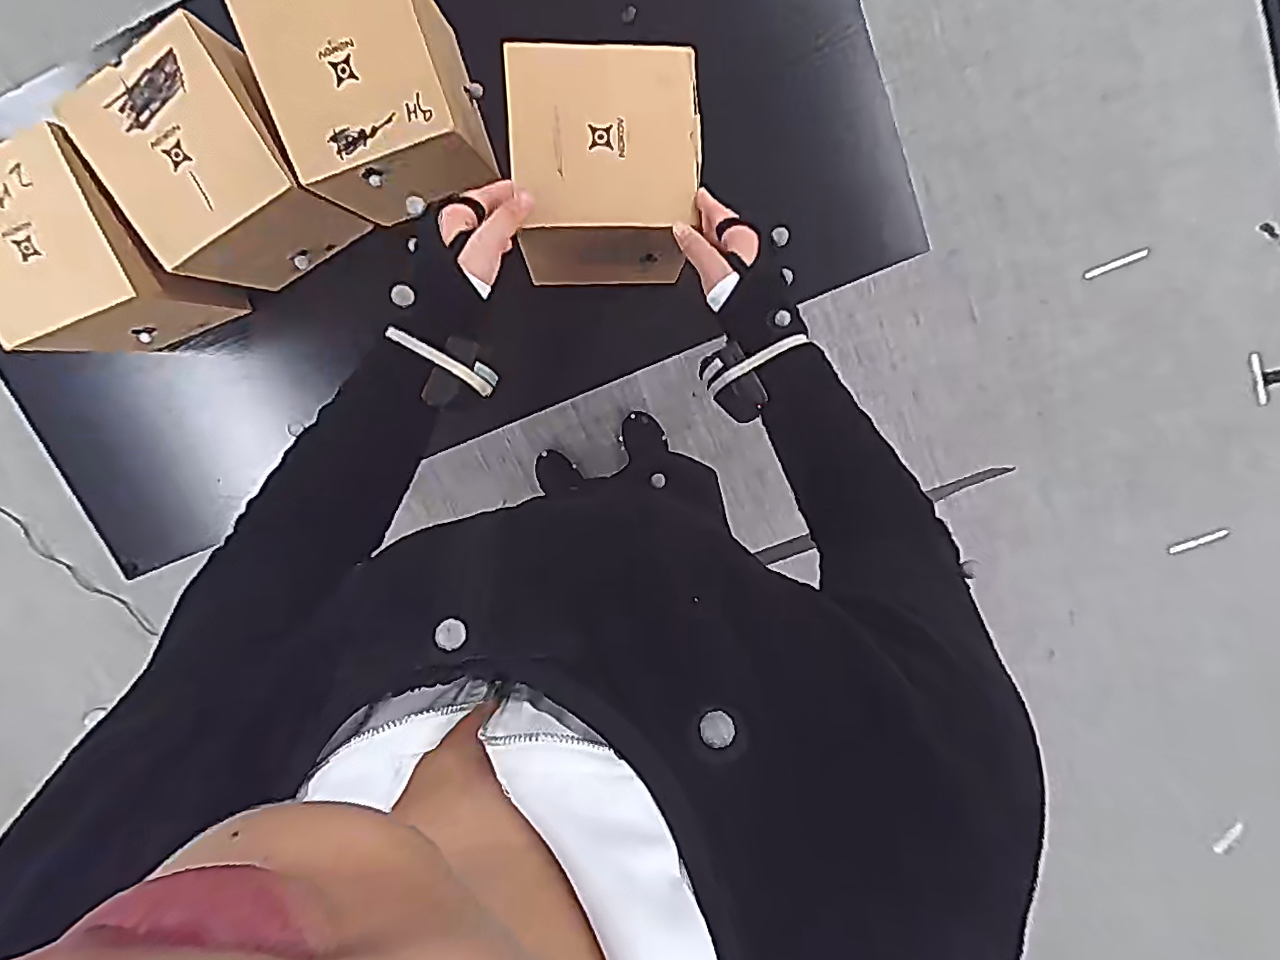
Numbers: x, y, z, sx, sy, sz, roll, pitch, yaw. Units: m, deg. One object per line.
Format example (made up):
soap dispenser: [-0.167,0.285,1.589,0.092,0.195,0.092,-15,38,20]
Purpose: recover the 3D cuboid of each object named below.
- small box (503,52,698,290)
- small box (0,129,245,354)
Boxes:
small box: [-0.041,-0.311,0.578,0.179,0.176,0.168,-3,92,-4]
small box: [-0.618,-0.256,0.628,0.168,0.176,0.179,-19,100,5]
